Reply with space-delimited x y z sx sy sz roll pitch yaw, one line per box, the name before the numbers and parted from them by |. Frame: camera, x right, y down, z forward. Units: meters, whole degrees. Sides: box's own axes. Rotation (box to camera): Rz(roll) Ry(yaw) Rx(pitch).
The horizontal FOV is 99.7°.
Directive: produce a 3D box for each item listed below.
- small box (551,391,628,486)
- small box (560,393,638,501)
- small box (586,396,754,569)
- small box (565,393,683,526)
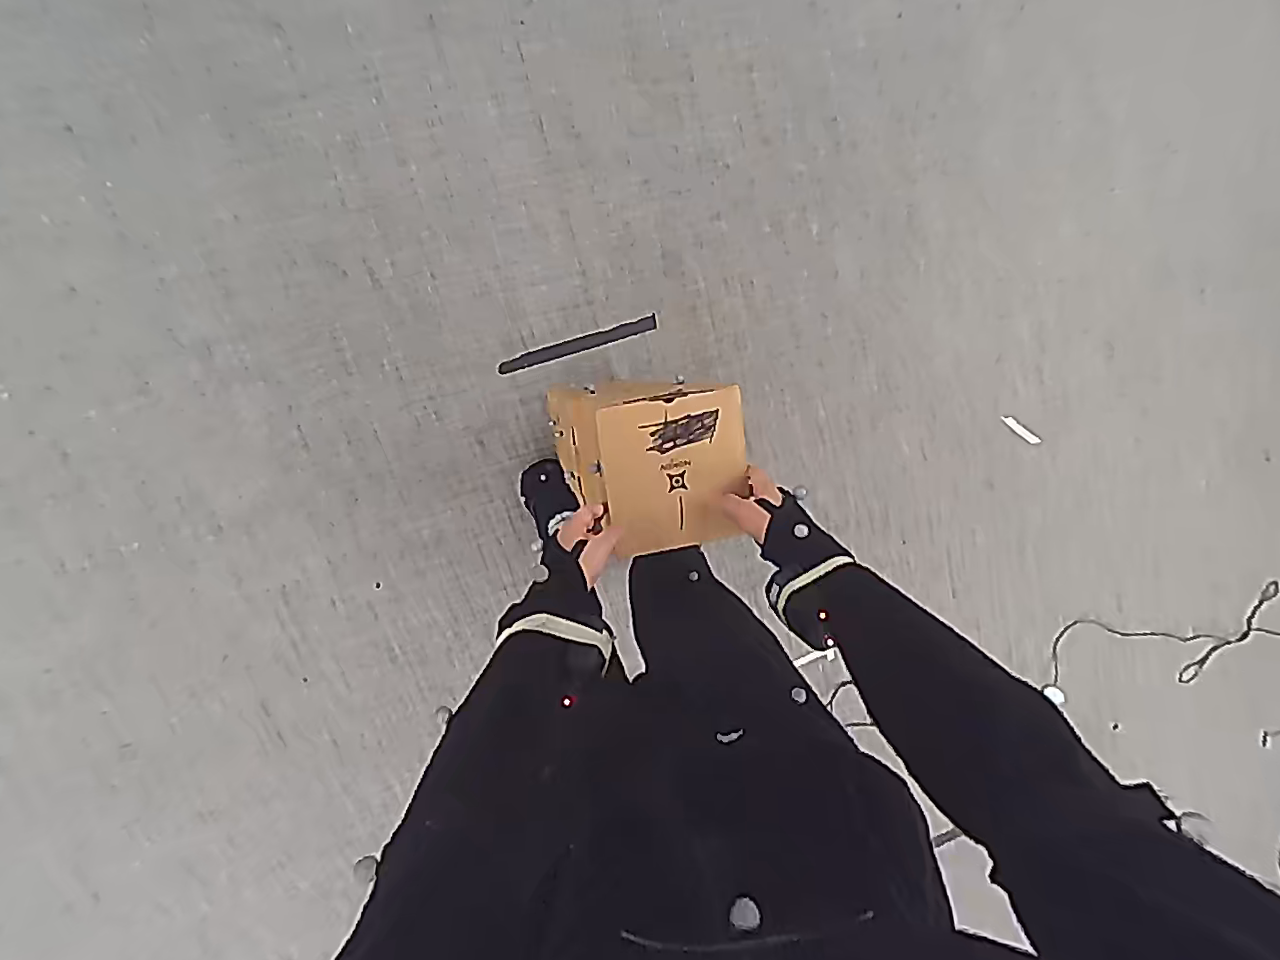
small box | -0.087 -0.095 1.157 0.179 0.176 0.168 -10 104 -11
small box | -0.053 -0.068 0.998 0.179 0.176 0.168 -7 104 -12
small box | 0.029 -0.010 0.682 0.168 0.176 0.179 -10 103 -9
small box | -0.019 -0.041 0.842 0.179 0.176 0.168 -10 105 -11
